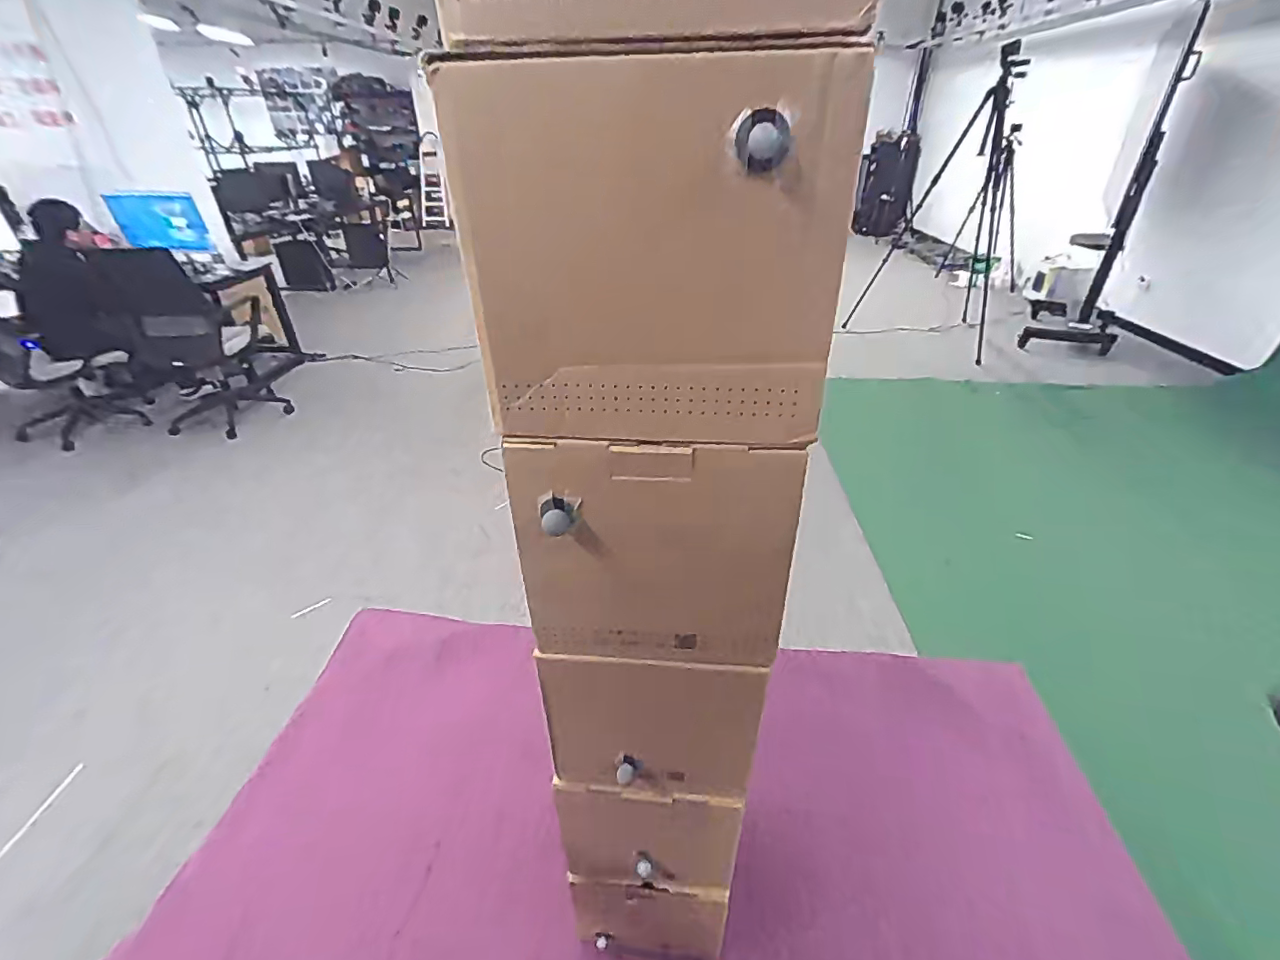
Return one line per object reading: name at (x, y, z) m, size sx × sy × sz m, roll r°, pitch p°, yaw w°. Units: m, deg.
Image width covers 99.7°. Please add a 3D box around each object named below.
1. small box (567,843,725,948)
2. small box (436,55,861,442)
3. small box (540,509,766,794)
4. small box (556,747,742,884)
small box at (0.017, 0.428, 0.658) m, size 0.168 × 0.176 × 0.179 m, roll 3°, pitch 33°, yaw 6°
small box at (0.010, -0.131, 0.323) m, size 0.179 × 0.176 × 0.168 m, roll 3°, pitch 32°, yaw 5°
small box at (0.017, 0.147, 0.492) m, size 0.168 × 0.176 × 0.179 m, roll 2°, pitch 33°, yaw 6°
small box at (0.016, 0.286, 0.576) m, size 0.168 × 0.176 × 0.179 m, roll 3°, pitch 33°, yaw 6°
